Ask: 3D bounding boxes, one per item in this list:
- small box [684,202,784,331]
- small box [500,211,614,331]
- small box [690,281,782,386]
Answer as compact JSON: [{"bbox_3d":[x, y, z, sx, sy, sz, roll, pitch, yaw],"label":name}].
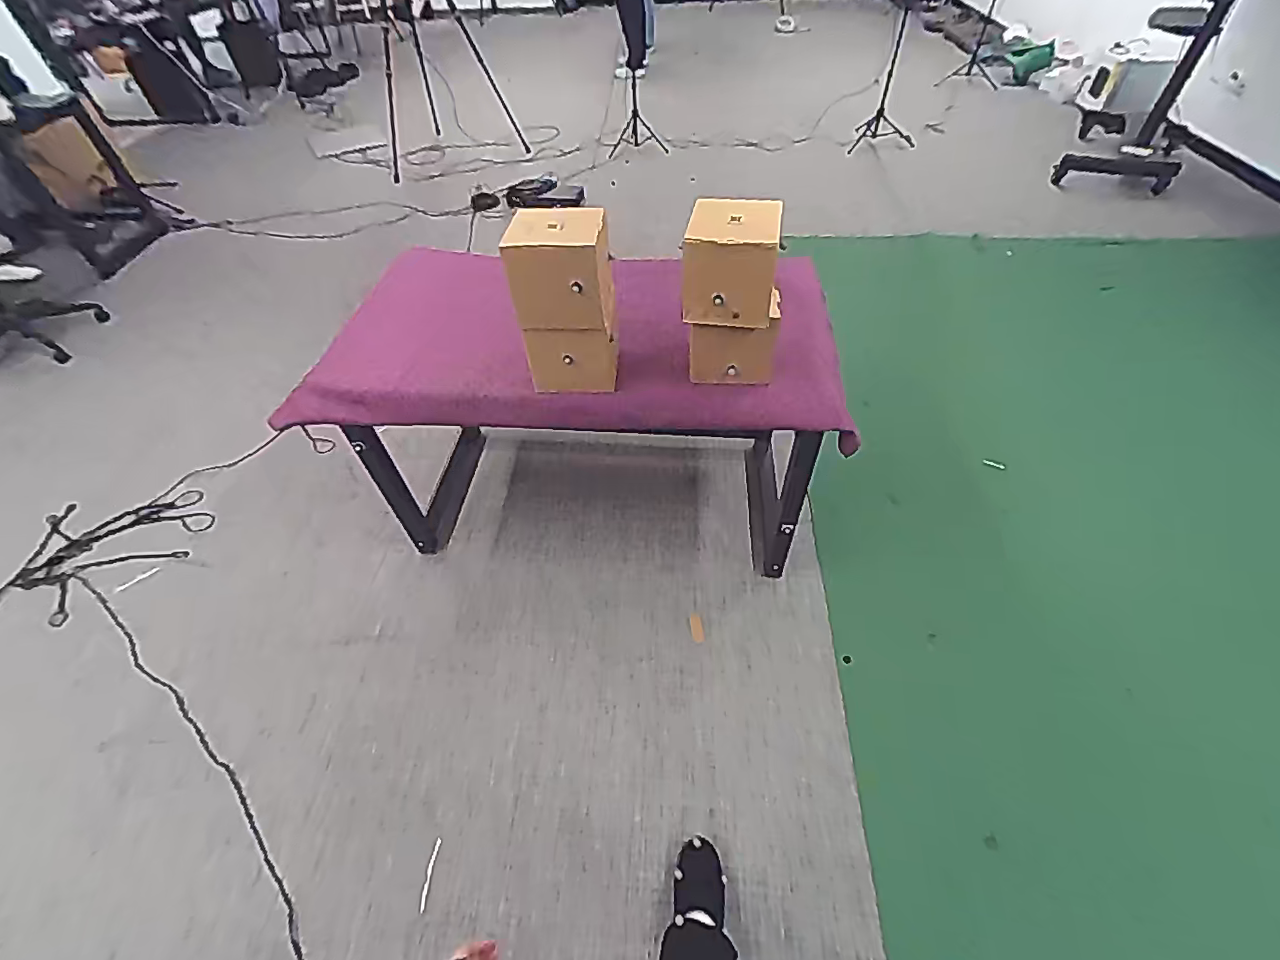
[{"bbox_3d":[0.178,-0.413,1.044,0.168,0.176,0.179,7,50,11],"label":"small box"},{"bbox_3d":[-0.150,-0.405,1.055,0.179,0.176,0.168,2,47,6],"label":"small box"},{"bbox_3d":[0.201,-0.319,1.177,0.179,0.176,0.168,2,47,5],"label":"small box"}]
